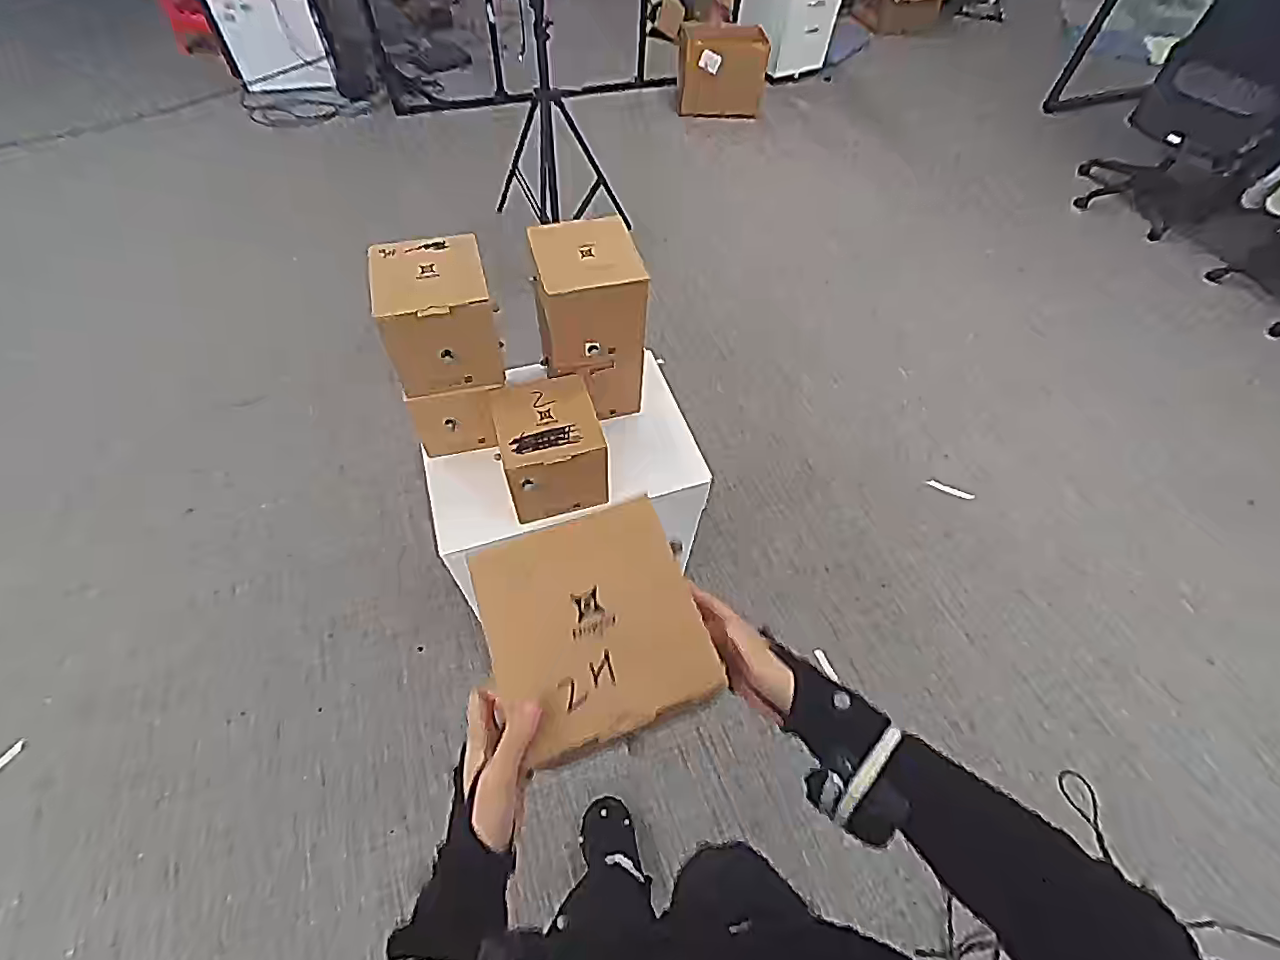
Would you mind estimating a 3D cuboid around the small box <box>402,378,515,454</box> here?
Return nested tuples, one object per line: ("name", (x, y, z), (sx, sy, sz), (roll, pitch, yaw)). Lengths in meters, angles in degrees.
("small box", (-0.337, -0.164, 1.014), (0.168, 0.176, 0.179), (-11, 58, -12))

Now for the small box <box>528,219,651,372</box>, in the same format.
("small box", (-0.089, -0.315, 0.932), (0.168, 0.176, 0.179), (-14, 60, -11))

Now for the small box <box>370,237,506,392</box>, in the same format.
("small box", (-0.323, -0.261, 0.881), (0.168, 0.176, 0.179), (-12, 59, -12))
